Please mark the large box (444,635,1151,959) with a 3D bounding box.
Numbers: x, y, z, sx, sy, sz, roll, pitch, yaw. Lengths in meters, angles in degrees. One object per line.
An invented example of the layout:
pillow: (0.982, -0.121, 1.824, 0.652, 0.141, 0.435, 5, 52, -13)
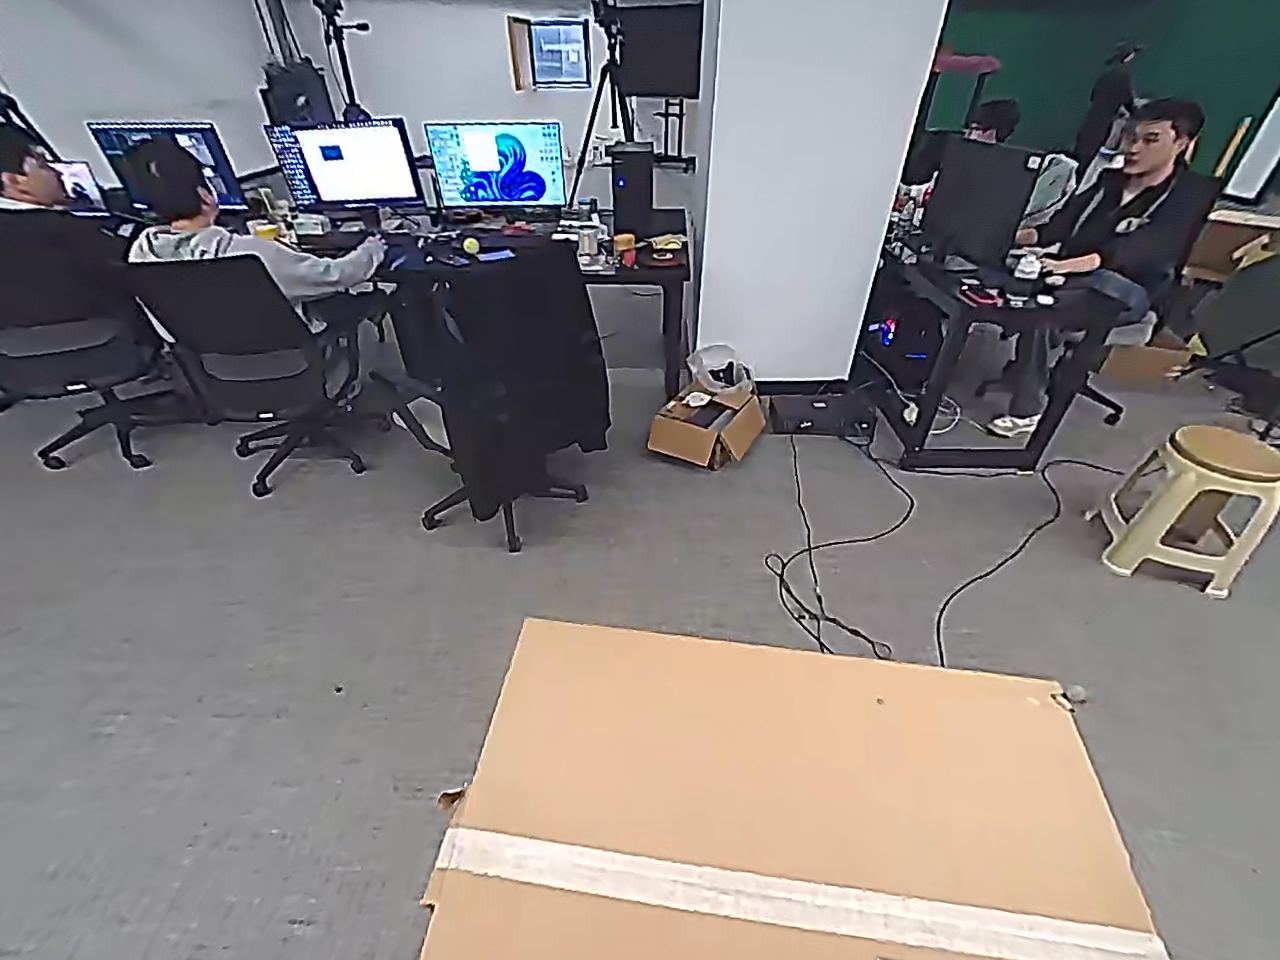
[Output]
large box: (0.089, 0.353, 0.429, 0.408, 0.320, 0.320, 5, 48, 5)
